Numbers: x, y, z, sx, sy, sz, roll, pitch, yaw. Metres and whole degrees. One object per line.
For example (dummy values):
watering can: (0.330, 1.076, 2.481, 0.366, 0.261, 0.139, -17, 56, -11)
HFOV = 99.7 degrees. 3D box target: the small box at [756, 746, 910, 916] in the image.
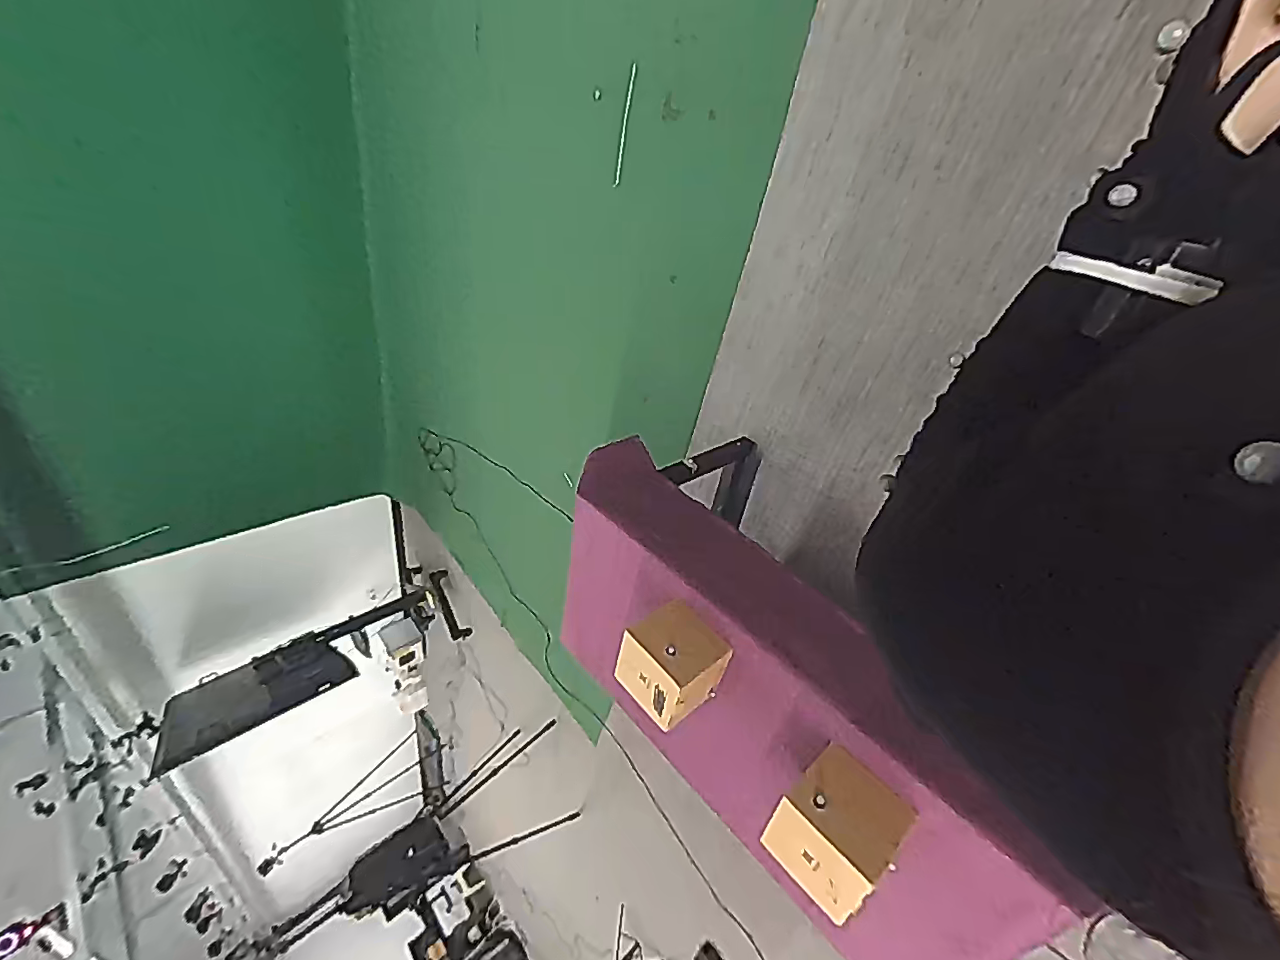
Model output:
small box: (0.347, 0.619, 0.982, 0.179, 0.176, 0.168, 37, 132, 34)

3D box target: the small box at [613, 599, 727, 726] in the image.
small box: (0.067, 0.398, 1.209, 0.179, 0.176, 0.168, 39, 133, 33)
